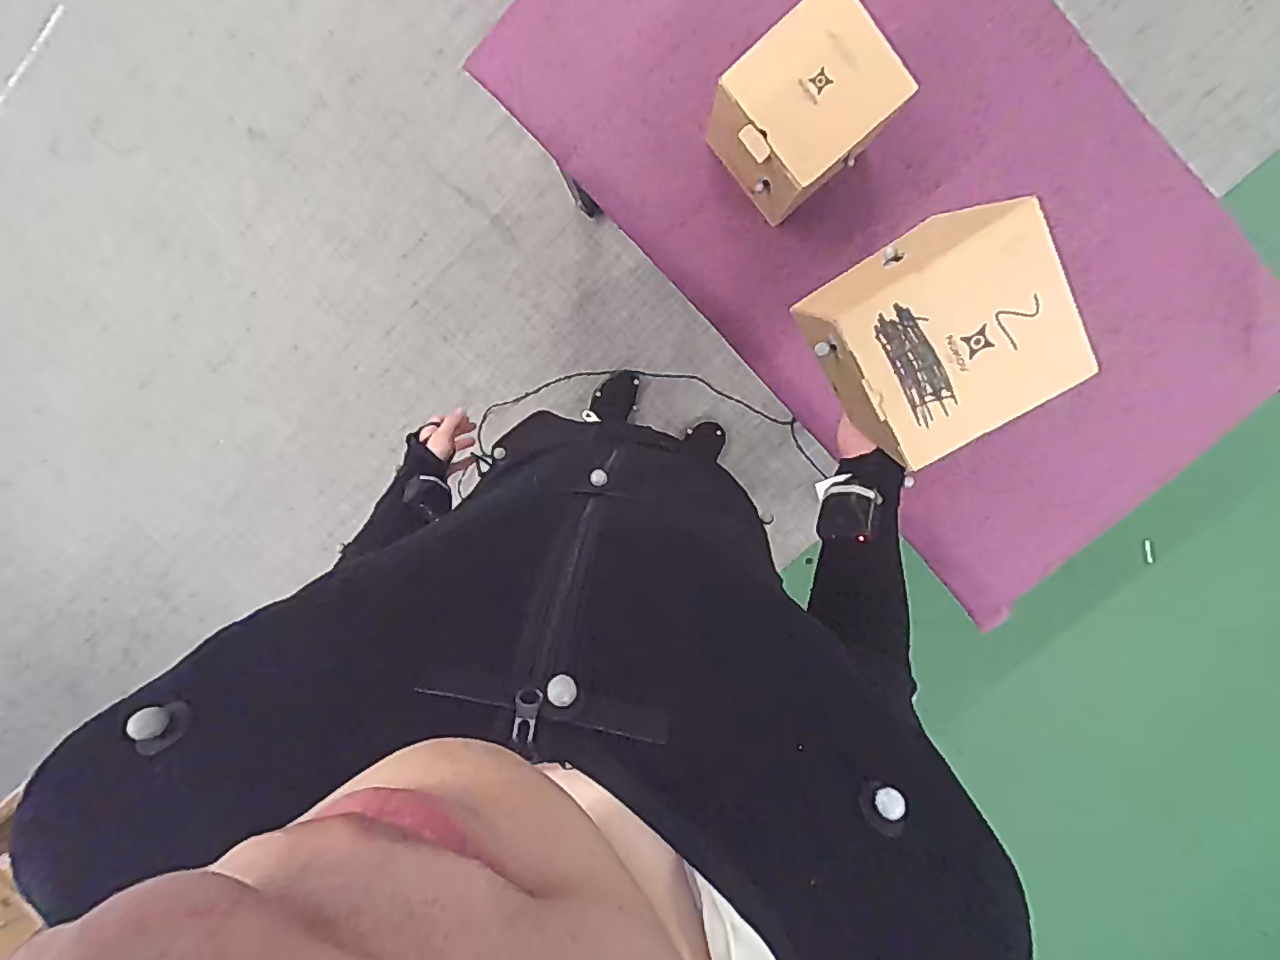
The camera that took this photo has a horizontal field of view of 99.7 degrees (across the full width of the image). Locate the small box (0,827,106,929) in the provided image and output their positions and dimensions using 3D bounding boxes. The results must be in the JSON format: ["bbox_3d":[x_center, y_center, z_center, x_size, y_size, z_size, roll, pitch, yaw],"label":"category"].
[{"bbox_3d":[-1.543,1.043,1.376,0.179,0.176,0.168,-41,98,7],"label":"small box"}]

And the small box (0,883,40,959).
[{"bbox_3d":[-1.543,1.069,1.217,0.179,0.176,0.168,-41,97,6],"label":"small box"}]

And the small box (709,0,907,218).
[{"bbox_3d":[0.206,-0.490,0.725,0.179,0.176,0.168,-39,98,7],"label":"small box"}]
